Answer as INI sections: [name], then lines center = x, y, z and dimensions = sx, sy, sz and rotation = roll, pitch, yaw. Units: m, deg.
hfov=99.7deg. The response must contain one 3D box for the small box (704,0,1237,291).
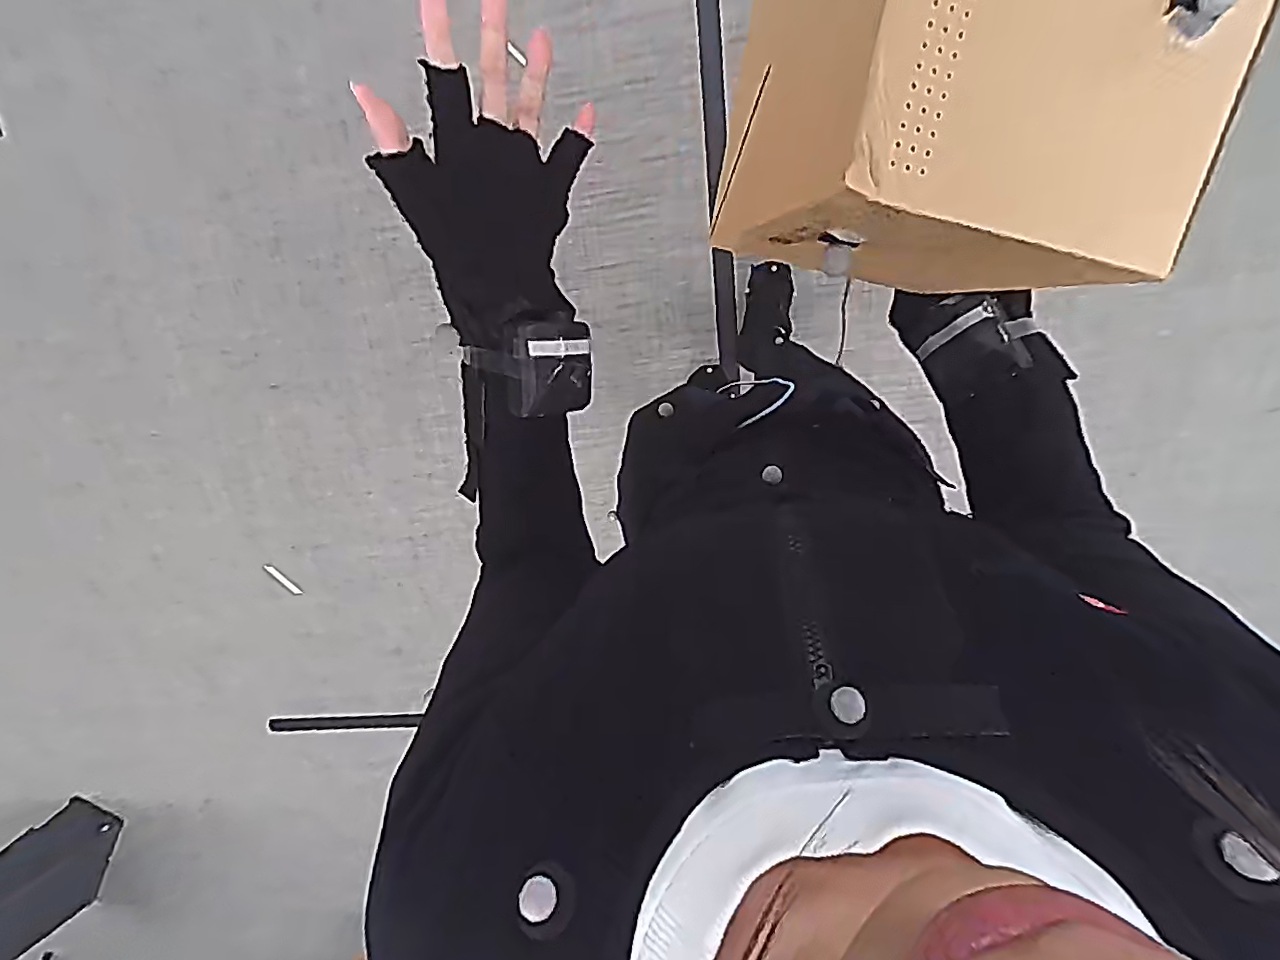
[small box]
center = 0.147, -0.209, 0.284
dimensions = 0.176, 0.168, 0.179
rotation = 7, 105, -12
